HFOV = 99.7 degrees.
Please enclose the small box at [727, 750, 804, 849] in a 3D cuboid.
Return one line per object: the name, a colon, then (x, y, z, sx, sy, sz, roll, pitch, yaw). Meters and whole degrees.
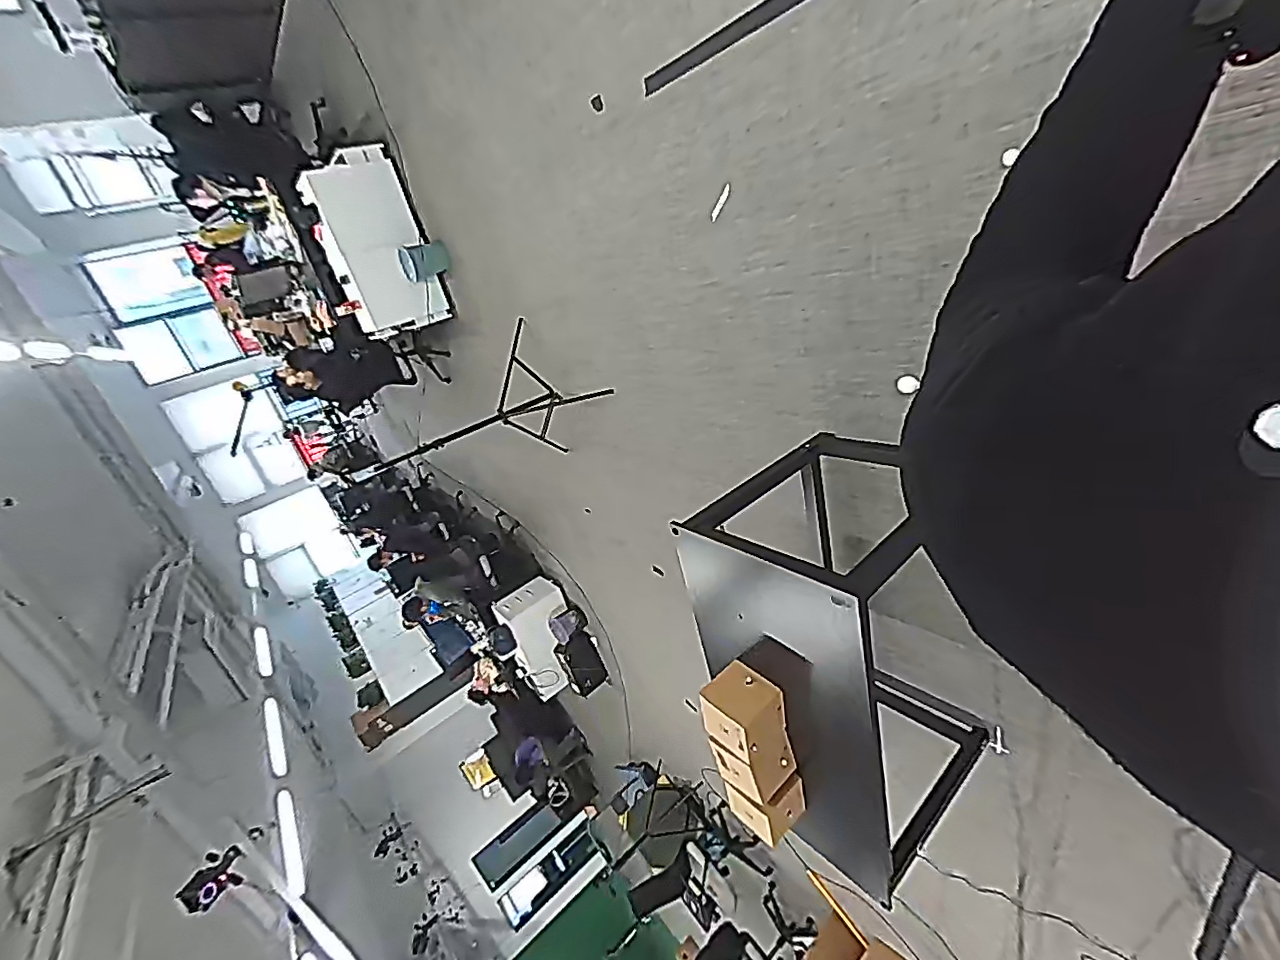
small box: (0.404, 1.003, 1.714, 0.179, 0.176, 0.168, 21, 132, 49)
